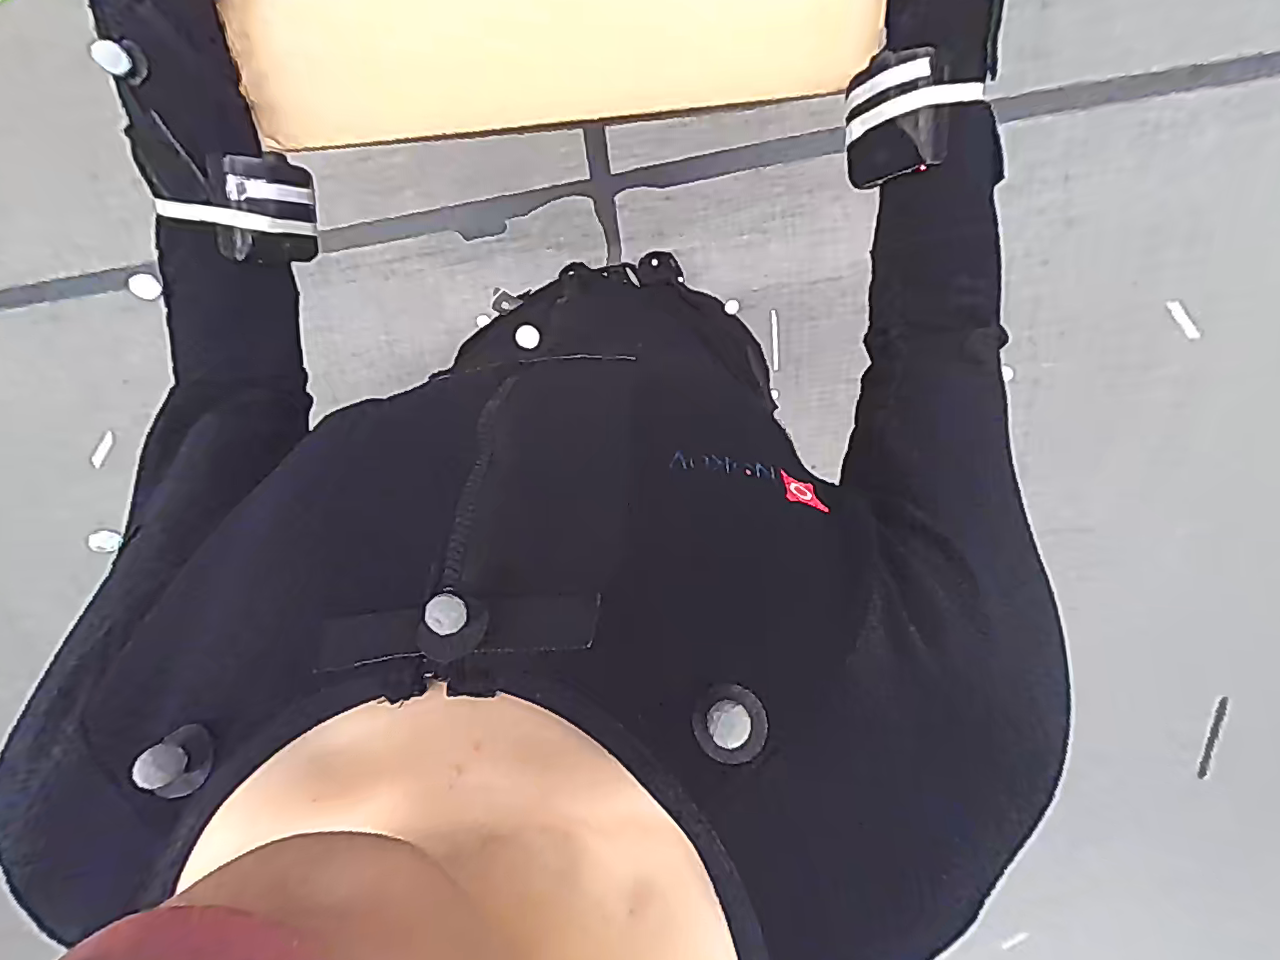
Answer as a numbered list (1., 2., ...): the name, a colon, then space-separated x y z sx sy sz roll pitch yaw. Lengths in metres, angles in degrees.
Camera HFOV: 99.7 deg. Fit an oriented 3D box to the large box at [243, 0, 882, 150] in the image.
1. large box: -0.061 -0.457 0.415 0.408 0.320 0.320 -5 123 1
